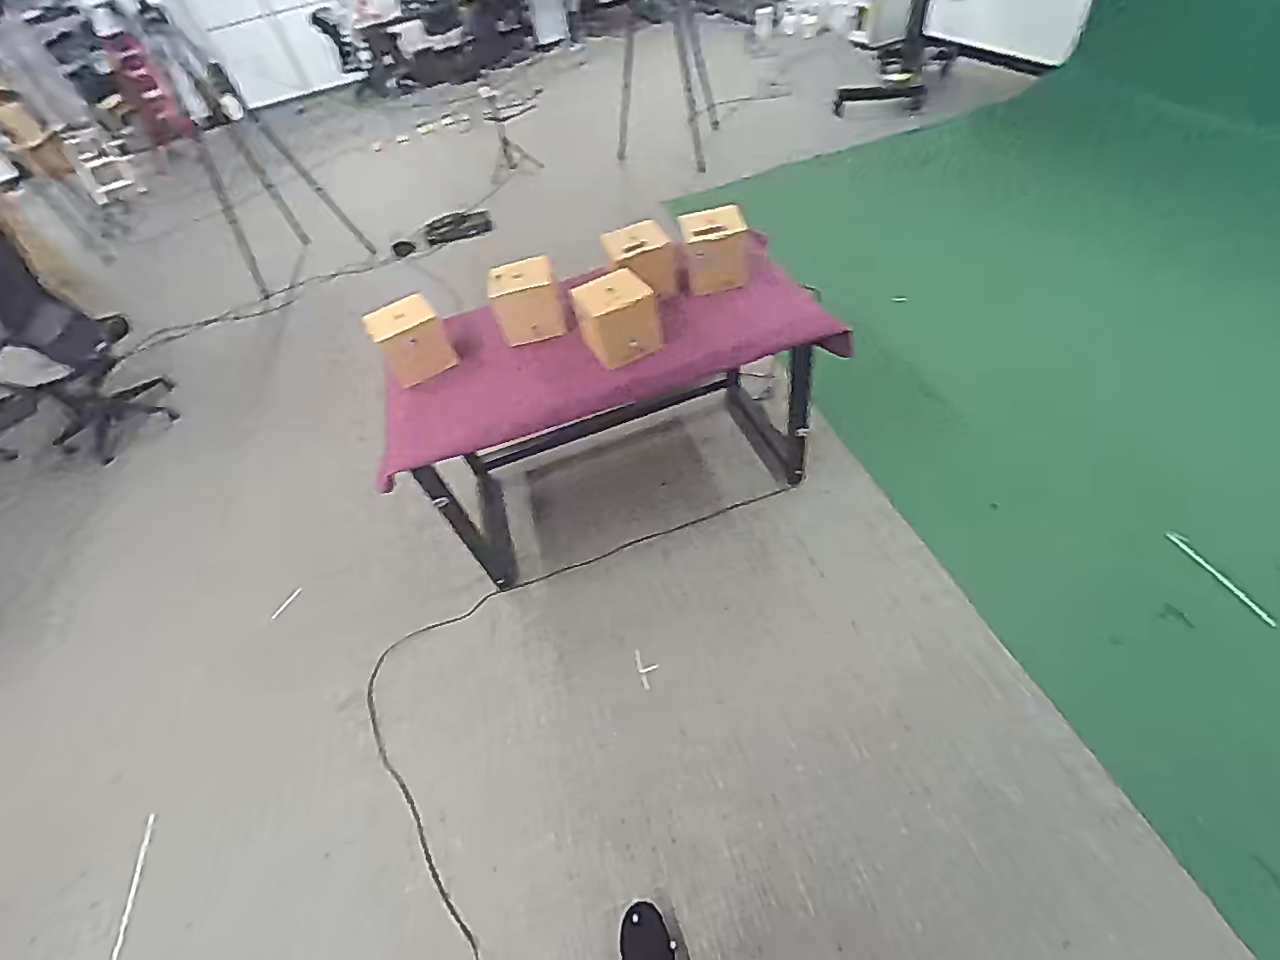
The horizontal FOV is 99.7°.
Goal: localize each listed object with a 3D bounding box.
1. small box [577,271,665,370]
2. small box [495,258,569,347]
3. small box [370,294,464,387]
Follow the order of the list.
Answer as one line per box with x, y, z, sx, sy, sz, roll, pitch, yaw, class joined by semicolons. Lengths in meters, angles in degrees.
-0.048;-0.426;1.449;0.168;0.176;0.179;-26;48;-9;small box
-0.312;-0.519;1.590;0.179;0.176;0.168;-12;49;2;small box
-0.640;-0.398;1.561;0.179;0.176;0.168;-30;51;-14;small box
